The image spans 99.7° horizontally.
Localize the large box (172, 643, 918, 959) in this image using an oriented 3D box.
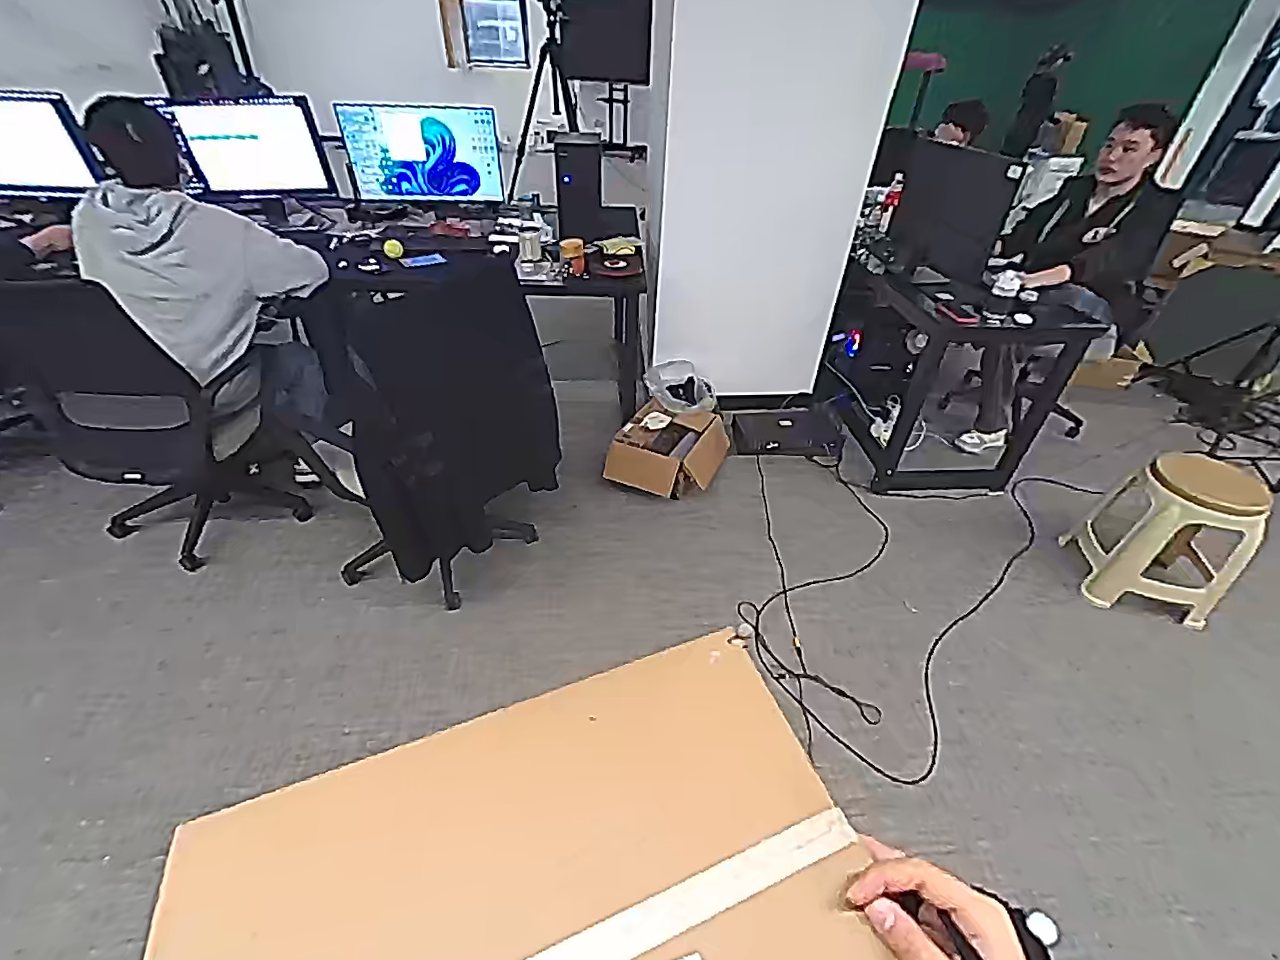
[{"bbox_3d":[-0.051,0.394,0.400,0.408,0.320,0.320,-15,45,-17],"label":"large box"}]
